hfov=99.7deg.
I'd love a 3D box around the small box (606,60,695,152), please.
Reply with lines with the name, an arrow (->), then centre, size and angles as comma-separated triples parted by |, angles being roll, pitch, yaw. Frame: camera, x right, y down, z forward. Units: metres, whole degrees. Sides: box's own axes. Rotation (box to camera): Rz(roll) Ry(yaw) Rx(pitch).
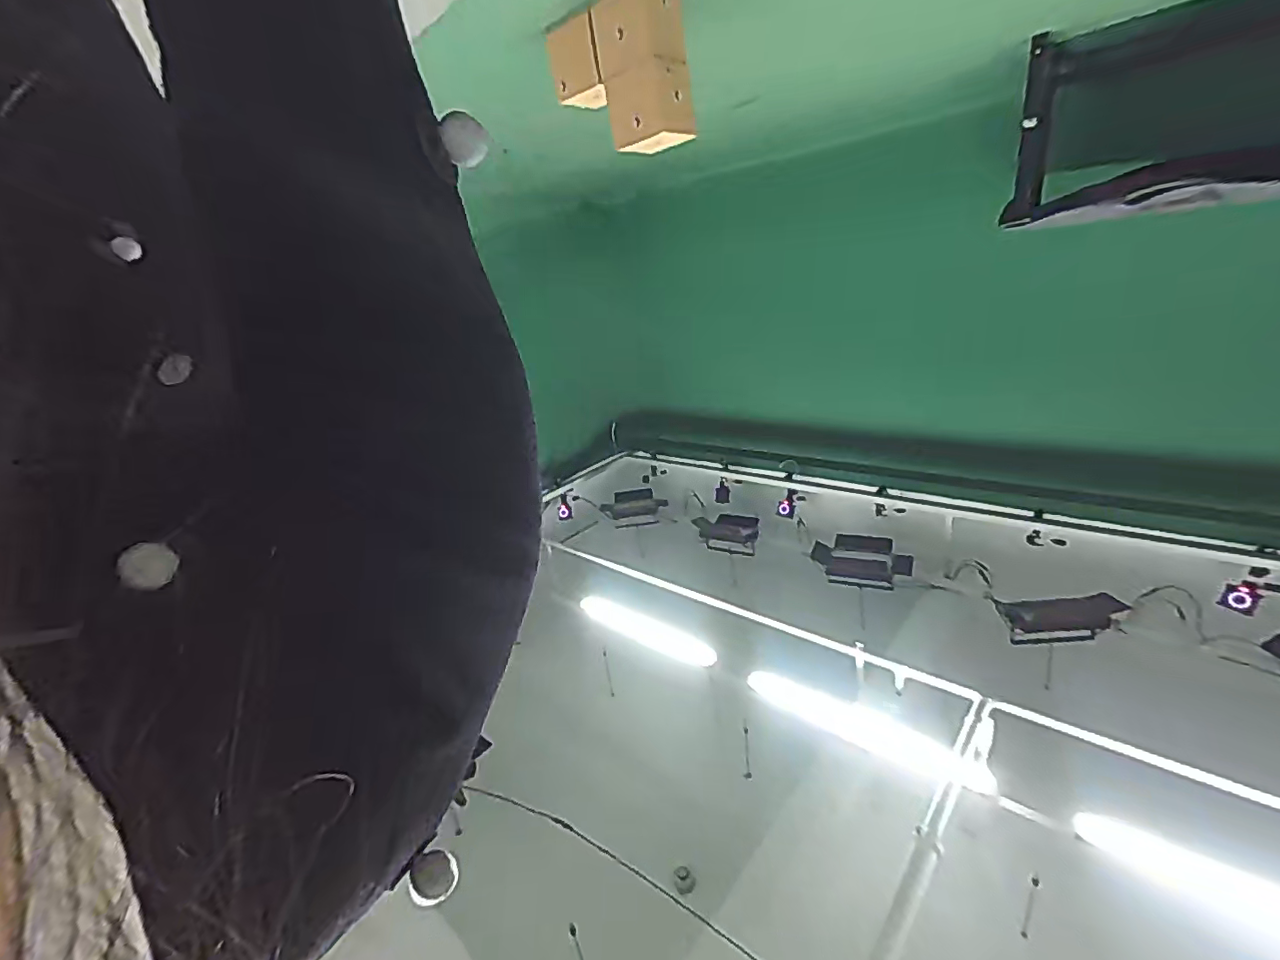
small box -> 0.026, -1.020, 1.484 | 0.179, 0.176, 0.168 | 9, -152, 40
